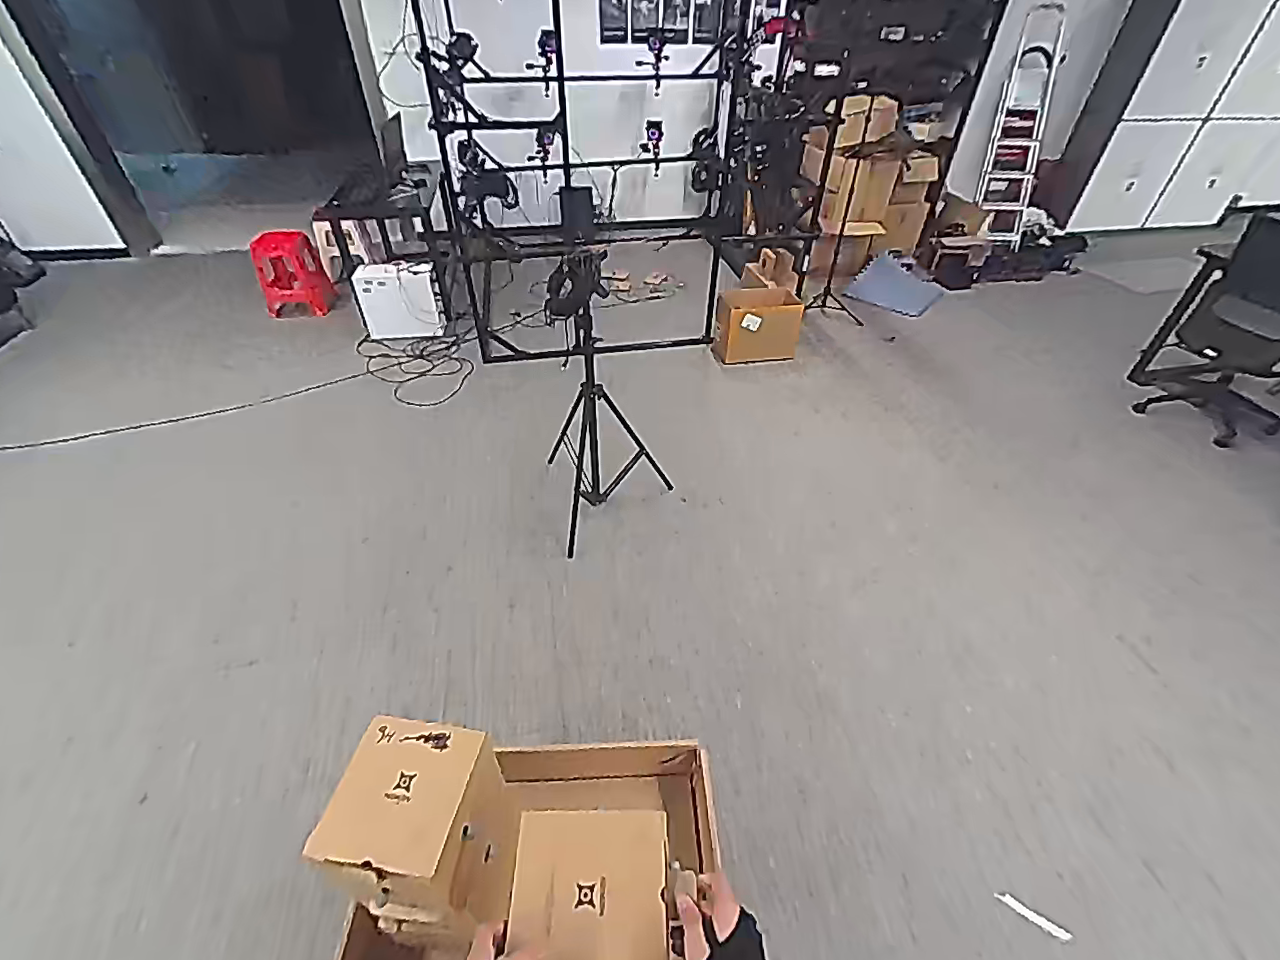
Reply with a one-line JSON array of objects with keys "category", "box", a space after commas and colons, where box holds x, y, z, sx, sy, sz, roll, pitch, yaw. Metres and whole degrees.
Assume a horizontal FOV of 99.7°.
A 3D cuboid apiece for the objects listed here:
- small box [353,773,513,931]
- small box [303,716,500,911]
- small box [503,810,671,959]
[{"category": "small box", "box": [-0.308, 0.579, 0.852, 0.168, 0.176, 0.179, 4, 40, 4]}, {"category": "small box", "box": [-0.305, 0.457, 0.741, 0.168, 0.176, 0.179, 7, 41, 7]}, {"category": "small box", "box": [-0.053, 0.512, 0.652, 0.179, 0.176, 0.168, -1, 46, 2]}]
